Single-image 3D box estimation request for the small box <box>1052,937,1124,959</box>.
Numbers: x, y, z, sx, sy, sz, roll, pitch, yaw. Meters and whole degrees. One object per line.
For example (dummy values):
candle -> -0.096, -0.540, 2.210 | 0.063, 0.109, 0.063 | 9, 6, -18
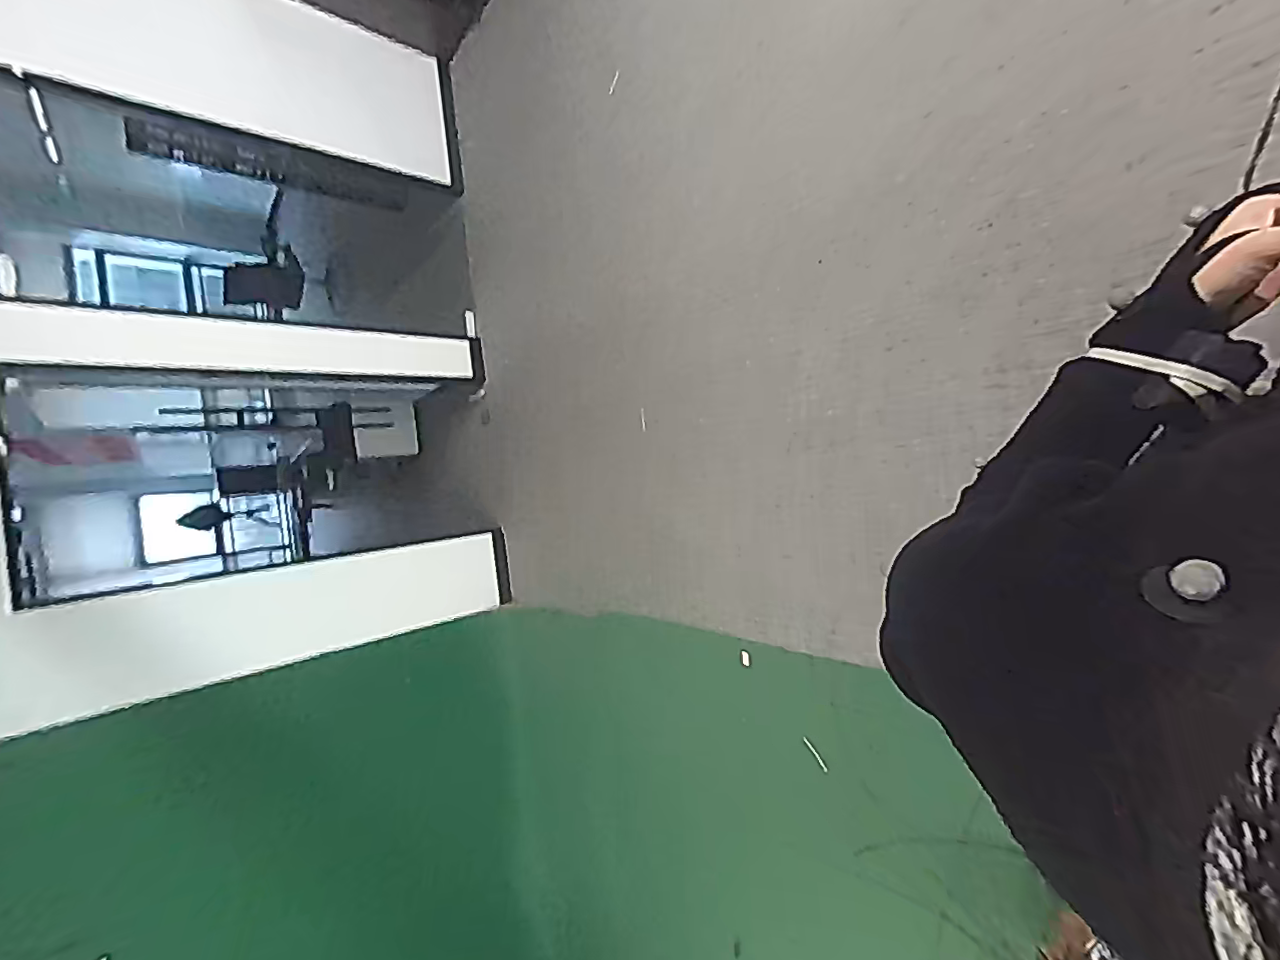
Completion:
small box -> 0.934, 1.083, 1.075 | 0.168, 0.176, 0.179 | -13, 87, 49
